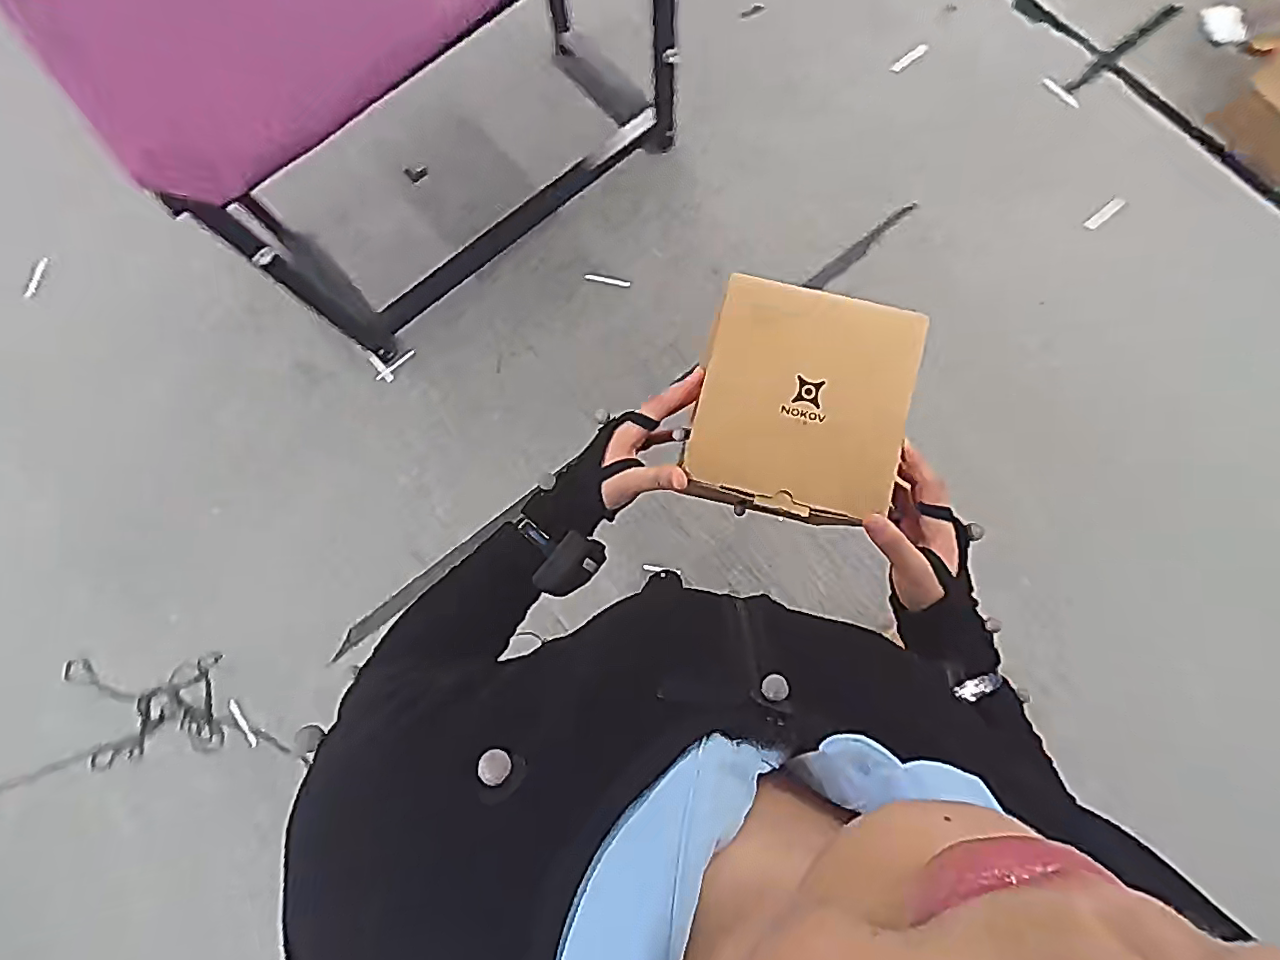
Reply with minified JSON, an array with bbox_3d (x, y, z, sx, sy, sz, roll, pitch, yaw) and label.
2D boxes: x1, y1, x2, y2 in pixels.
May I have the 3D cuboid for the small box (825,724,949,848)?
[{"bbox_3d":[0.571,0.705,1.278,0.168,0.176,0.179,-43,81,-5],"label":"small box"}]
